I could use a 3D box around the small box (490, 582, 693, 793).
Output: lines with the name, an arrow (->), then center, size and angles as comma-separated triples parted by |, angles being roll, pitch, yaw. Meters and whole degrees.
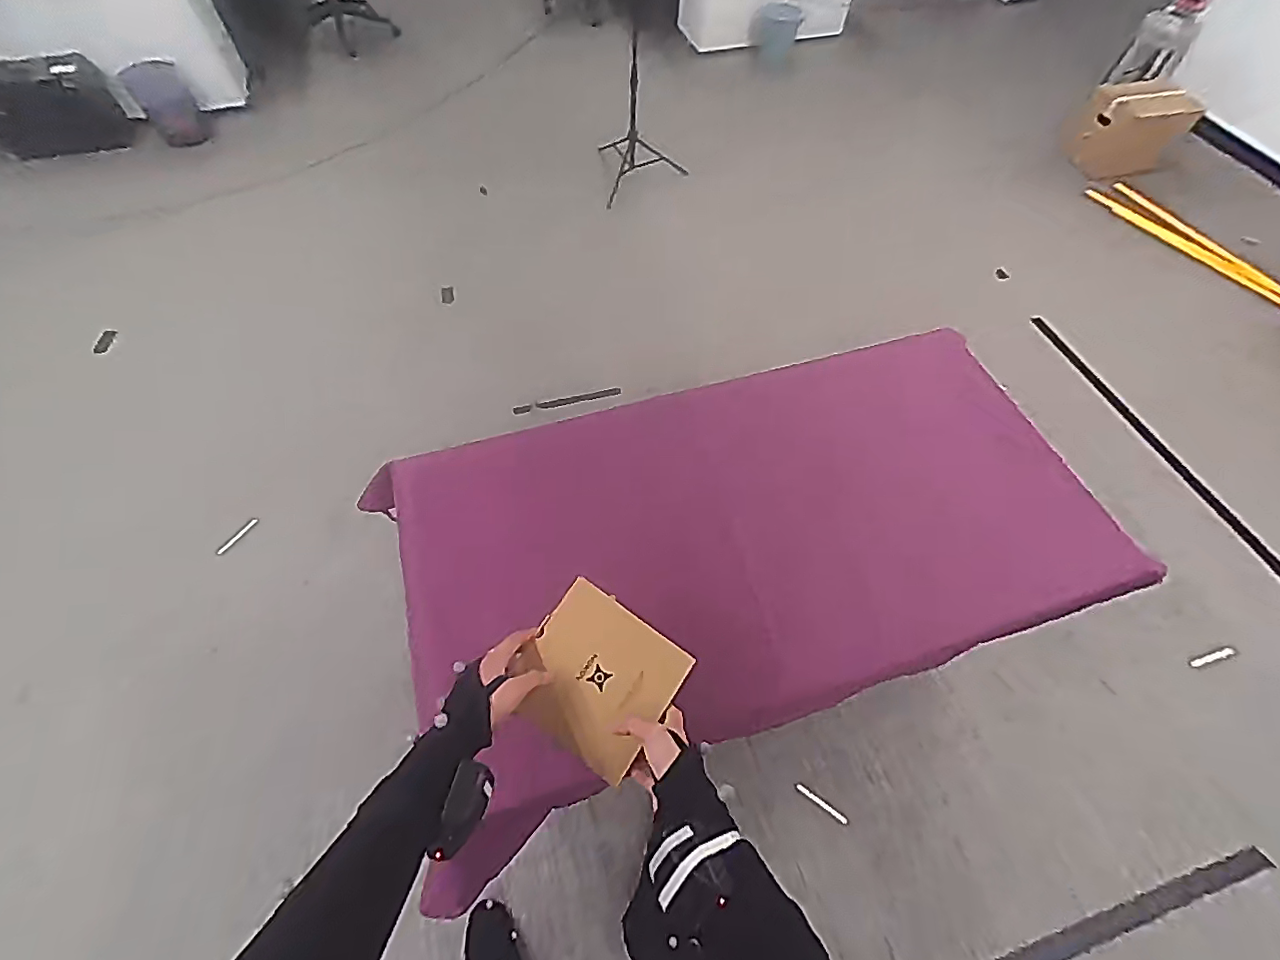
small box -> -0.059, 0.260, 0.690 | 0.179, 0.176, 0.168 | 35, 70, 10
